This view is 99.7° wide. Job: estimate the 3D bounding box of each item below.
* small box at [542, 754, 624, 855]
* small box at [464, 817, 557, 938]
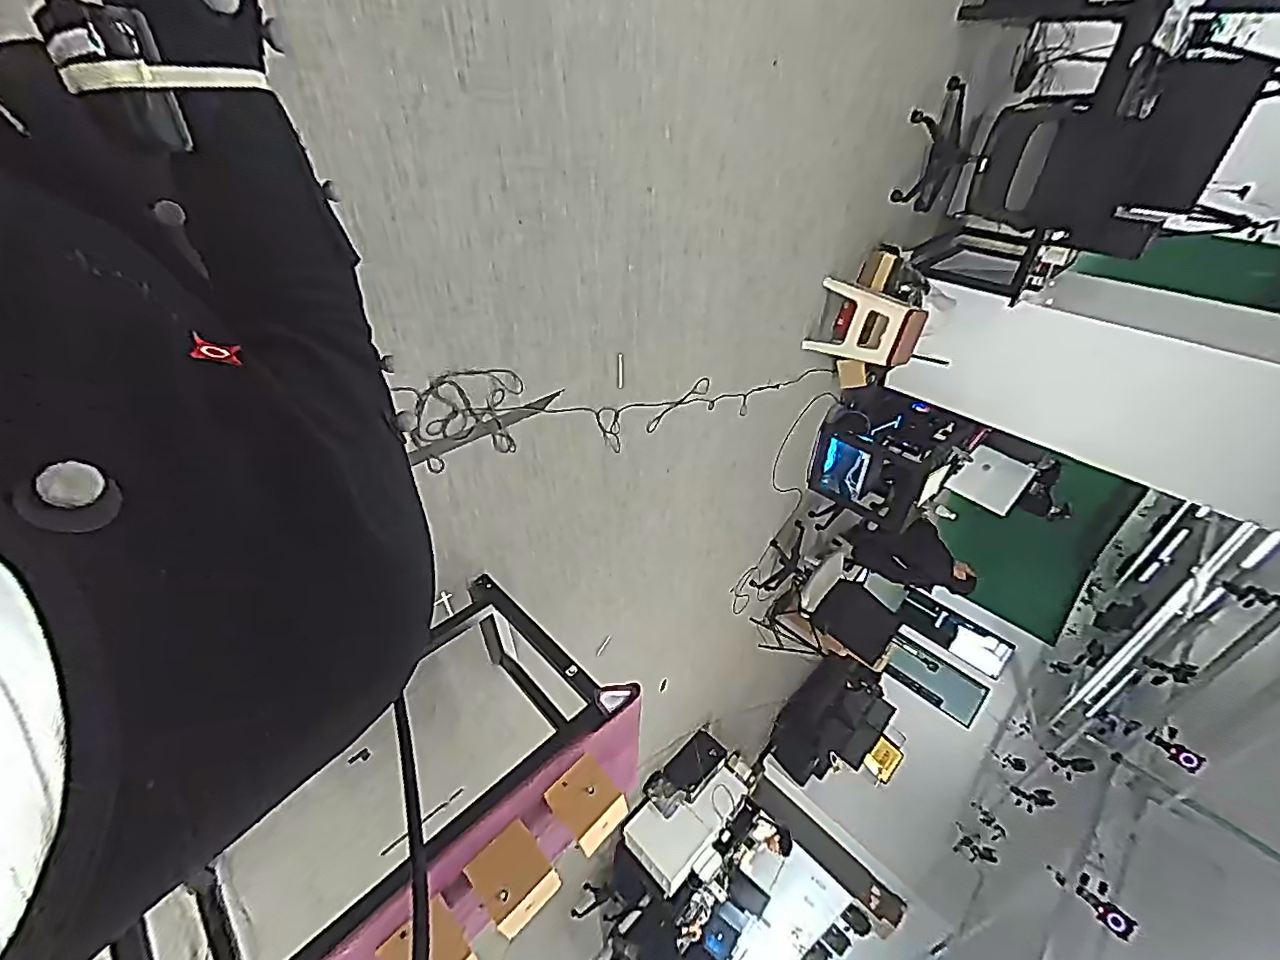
[{"bbox_3d":[-0.167,0.942,1.583,0.168,0.176,0.179,-36,141,-28],"label":"small box"},{"bbox_3d":[-0.349,1.055,1.442,0.179,0.176,0.168,-34,141,-31],"label":"small box"}]
